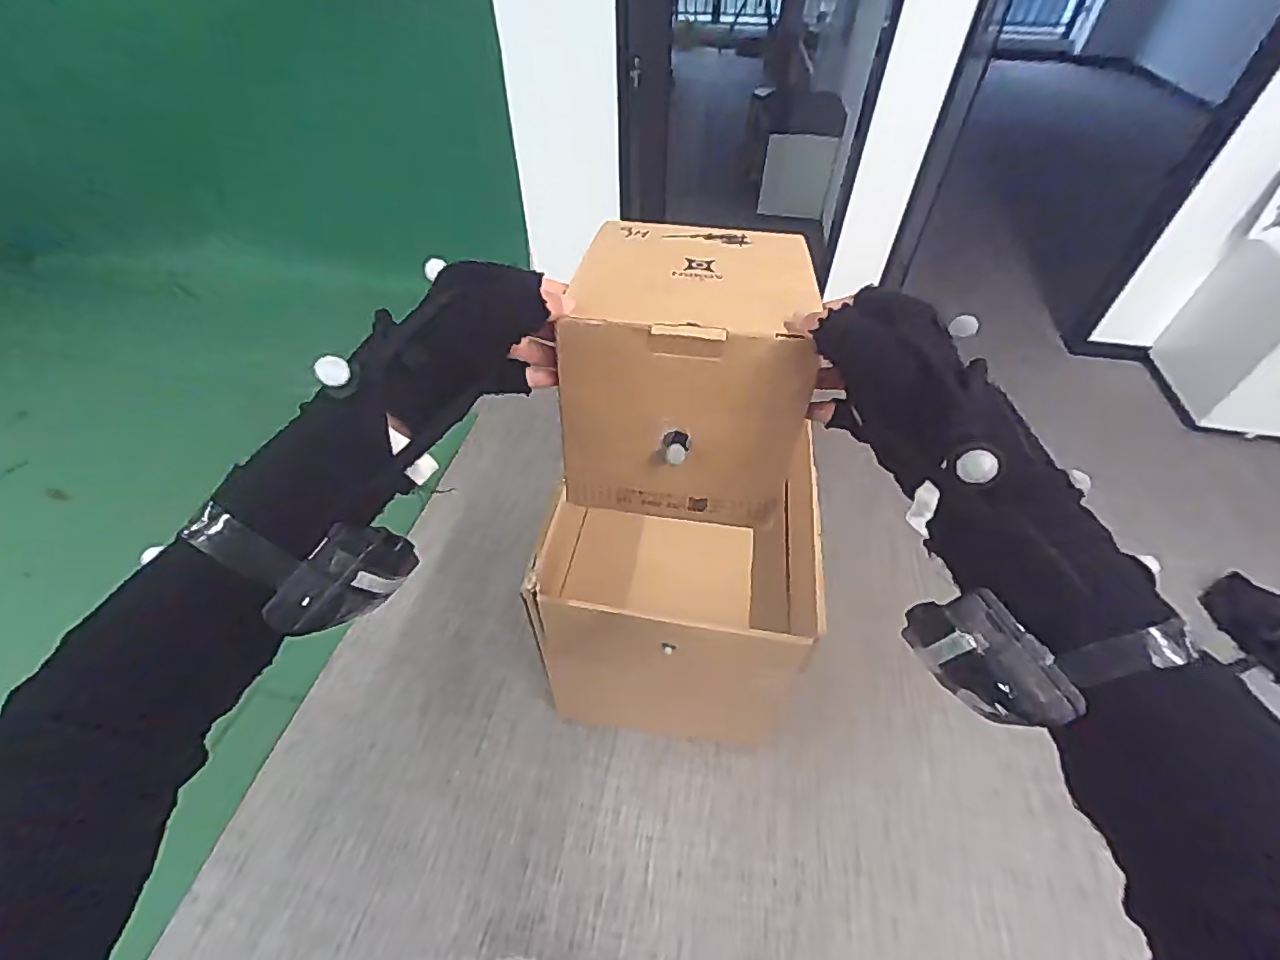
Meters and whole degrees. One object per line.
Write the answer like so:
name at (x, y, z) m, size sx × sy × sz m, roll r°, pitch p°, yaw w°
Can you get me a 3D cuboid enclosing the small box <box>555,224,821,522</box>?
small box at (0.038, -0.087, 0.440) m, size 0.168 × 0.176 × 0.179 m, roll 7°, pitch 44°, yaw 4°
